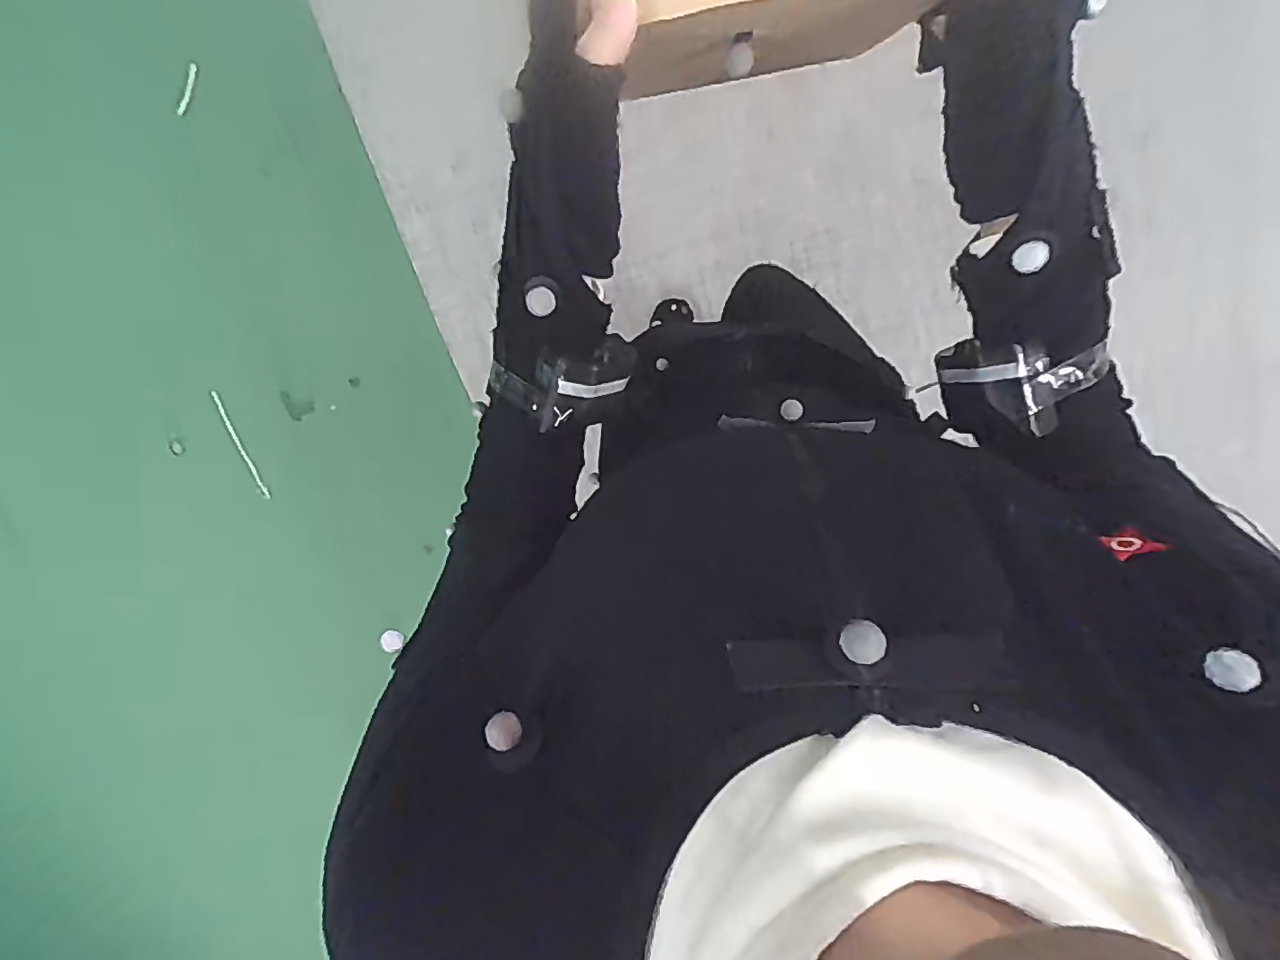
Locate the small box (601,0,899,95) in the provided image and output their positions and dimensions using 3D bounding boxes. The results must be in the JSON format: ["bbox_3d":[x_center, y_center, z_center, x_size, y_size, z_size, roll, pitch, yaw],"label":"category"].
[{"bbox_3d":[0.055,-0.319,0.266,0.179,0.176,0.168,-11,114,4],"label":"small box"}]
